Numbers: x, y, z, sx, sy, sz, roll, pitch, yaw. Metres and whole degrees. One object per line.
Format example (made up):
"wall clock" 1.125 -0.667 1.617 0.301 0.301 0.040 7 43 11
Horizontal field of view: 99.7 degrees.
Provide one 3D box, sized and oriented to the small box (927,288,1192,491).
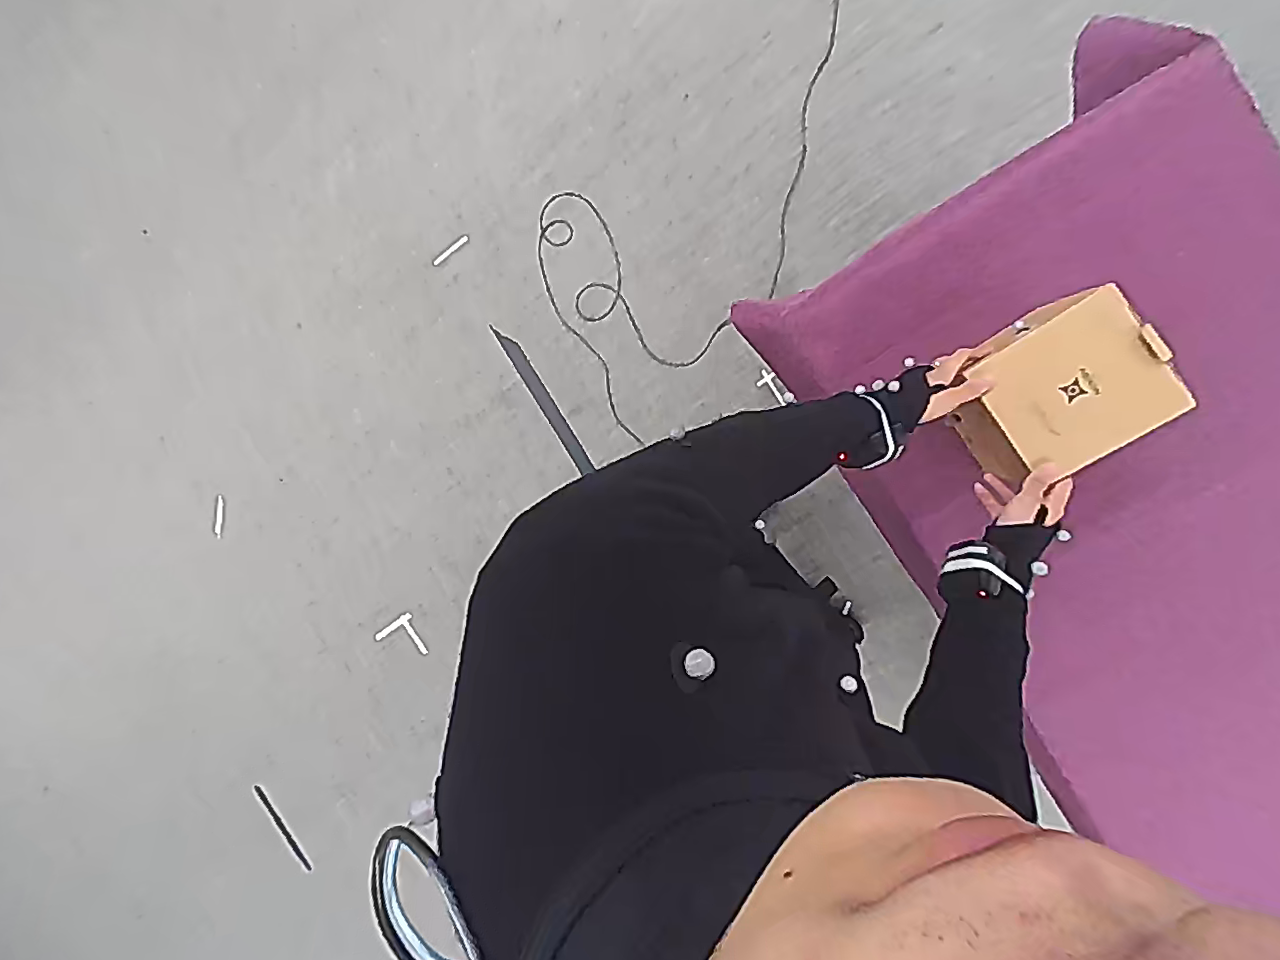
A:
"small box" 0.506 -0.109 0.685 0.179 0.176 0.168 -33 89 14
